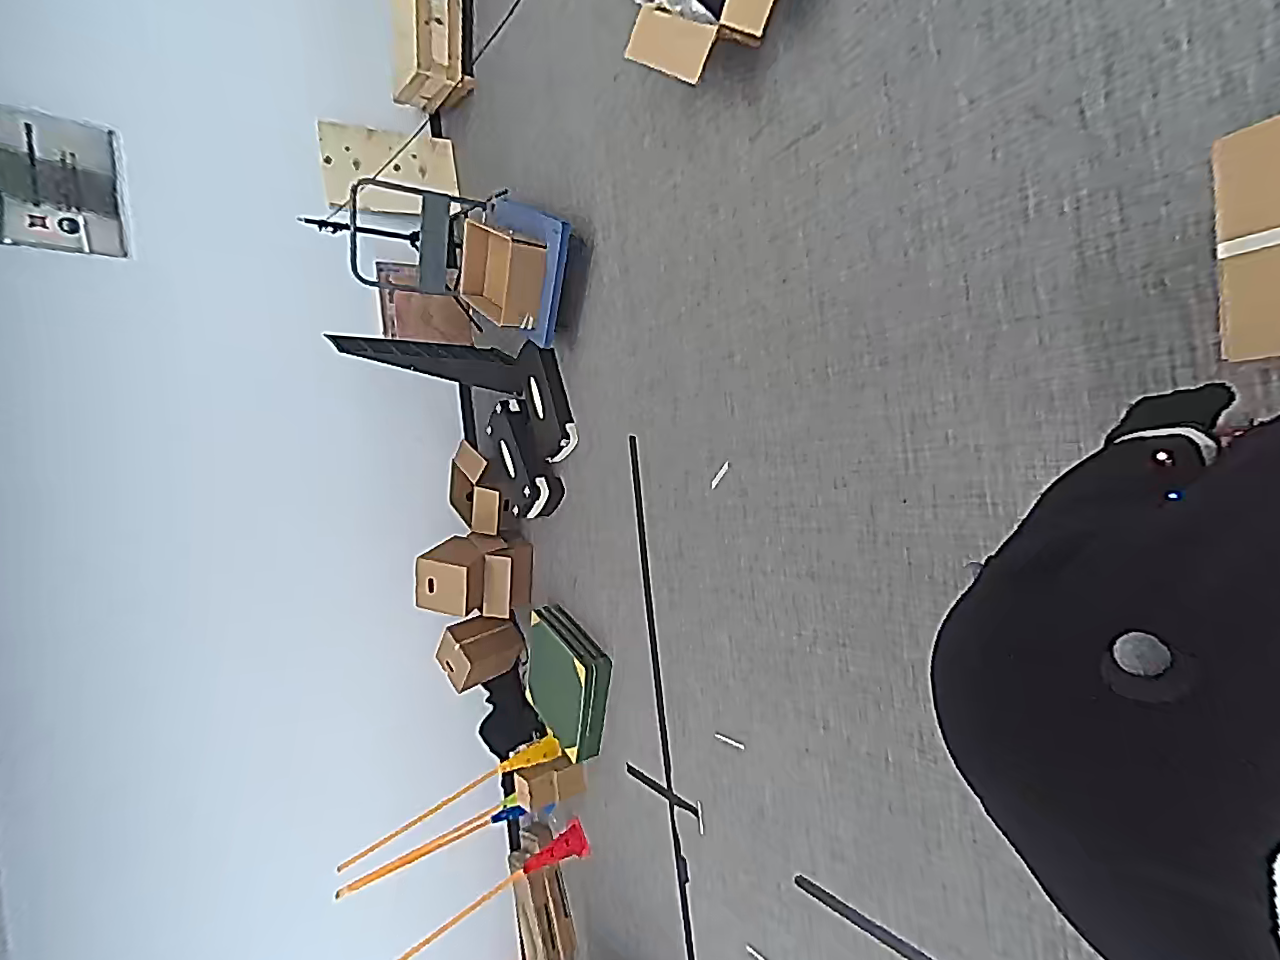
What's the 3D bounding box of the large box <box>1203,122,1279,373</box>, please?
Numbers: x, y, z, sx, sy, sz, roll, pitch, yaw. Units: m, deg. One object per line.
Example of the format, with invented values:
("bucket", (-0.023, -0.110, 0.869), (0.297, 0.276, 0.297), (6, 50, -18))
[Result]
("large box", (1.046, -0.334, 0.695), (0.408, 0.320, 0.320), (-4, 93, 54))
